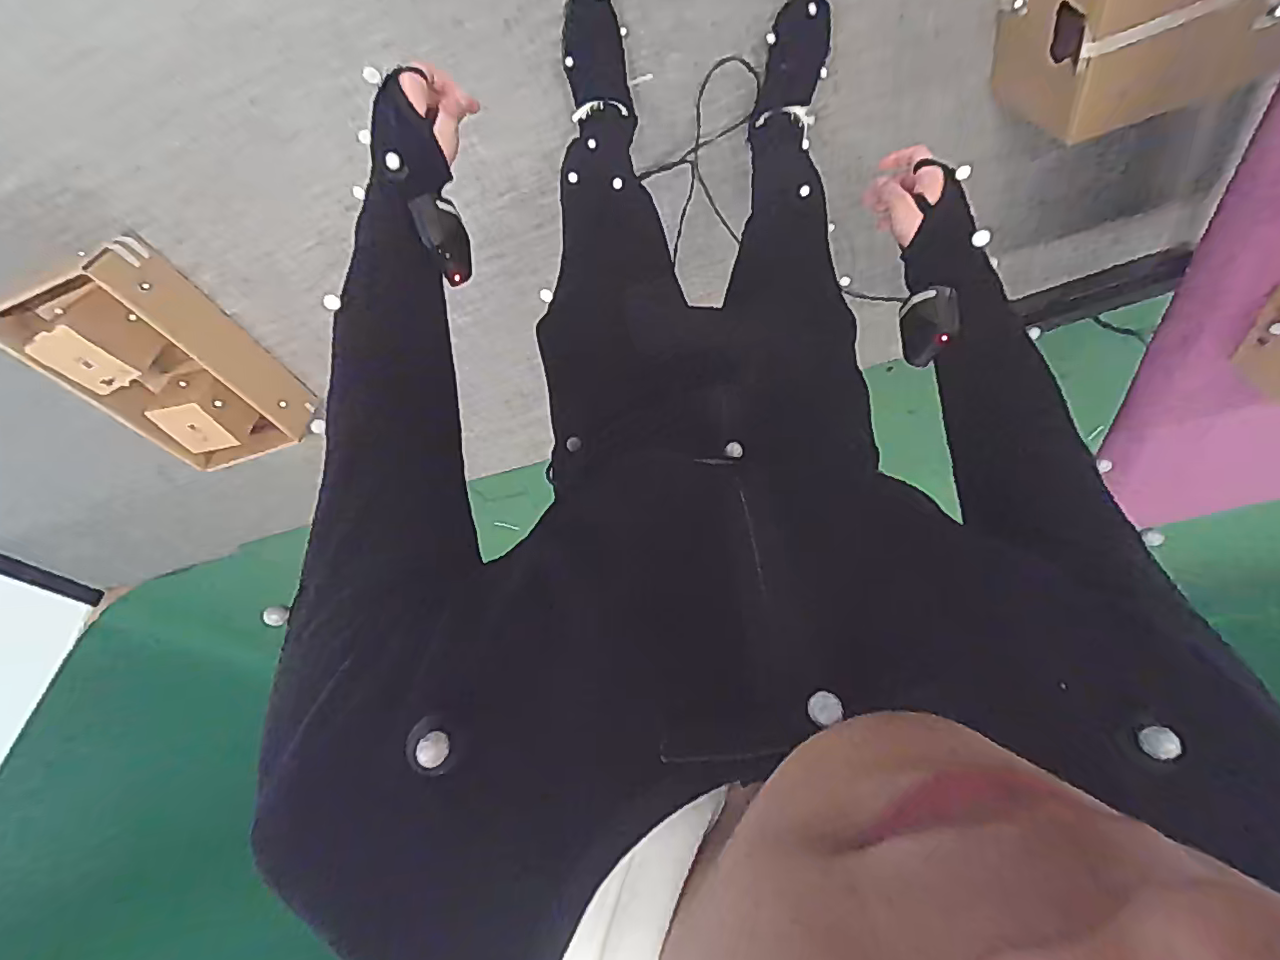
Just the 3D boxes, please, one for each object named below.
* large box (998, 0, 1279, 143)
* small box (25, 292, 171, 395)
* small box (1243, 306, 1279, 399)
[{"bbox_3d":[0.891,-0.852,0.895,0.408,0.320,0.320,-16,141,14],"label":"large box"},{"bbox_3d":[-1.378,-0.356,1.389,0.168,0.176,0.179,-18,140,16],"label":"small box"},{"bbox_3d":[0.962,-0.178,0.685,0.179,0.176,0.168,-14,140,13],"label":"small box"}]
